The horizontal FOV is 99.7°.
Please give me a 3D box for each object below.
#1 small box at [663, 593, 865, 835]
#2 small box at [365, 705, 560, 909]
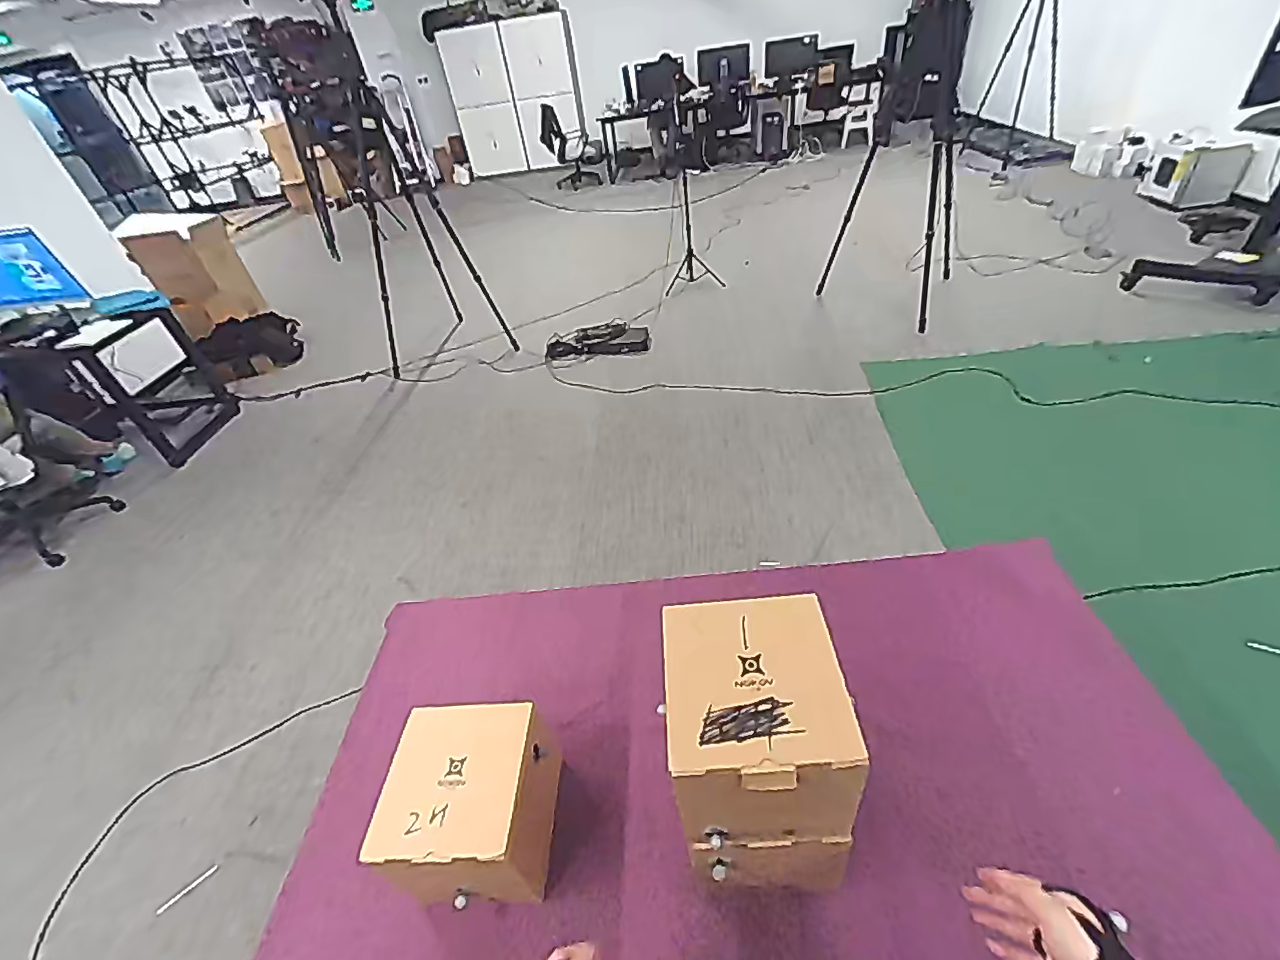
[{"bbox_3d":[0.116,0.244,0.559,0.168,0.176,0.179,-6,37,5],"label":"small box"},{"bbox_3d":[-0.204,0.413,0.686,0.168,0.176,0.179,-6,39,6],"label":"small box"}]
